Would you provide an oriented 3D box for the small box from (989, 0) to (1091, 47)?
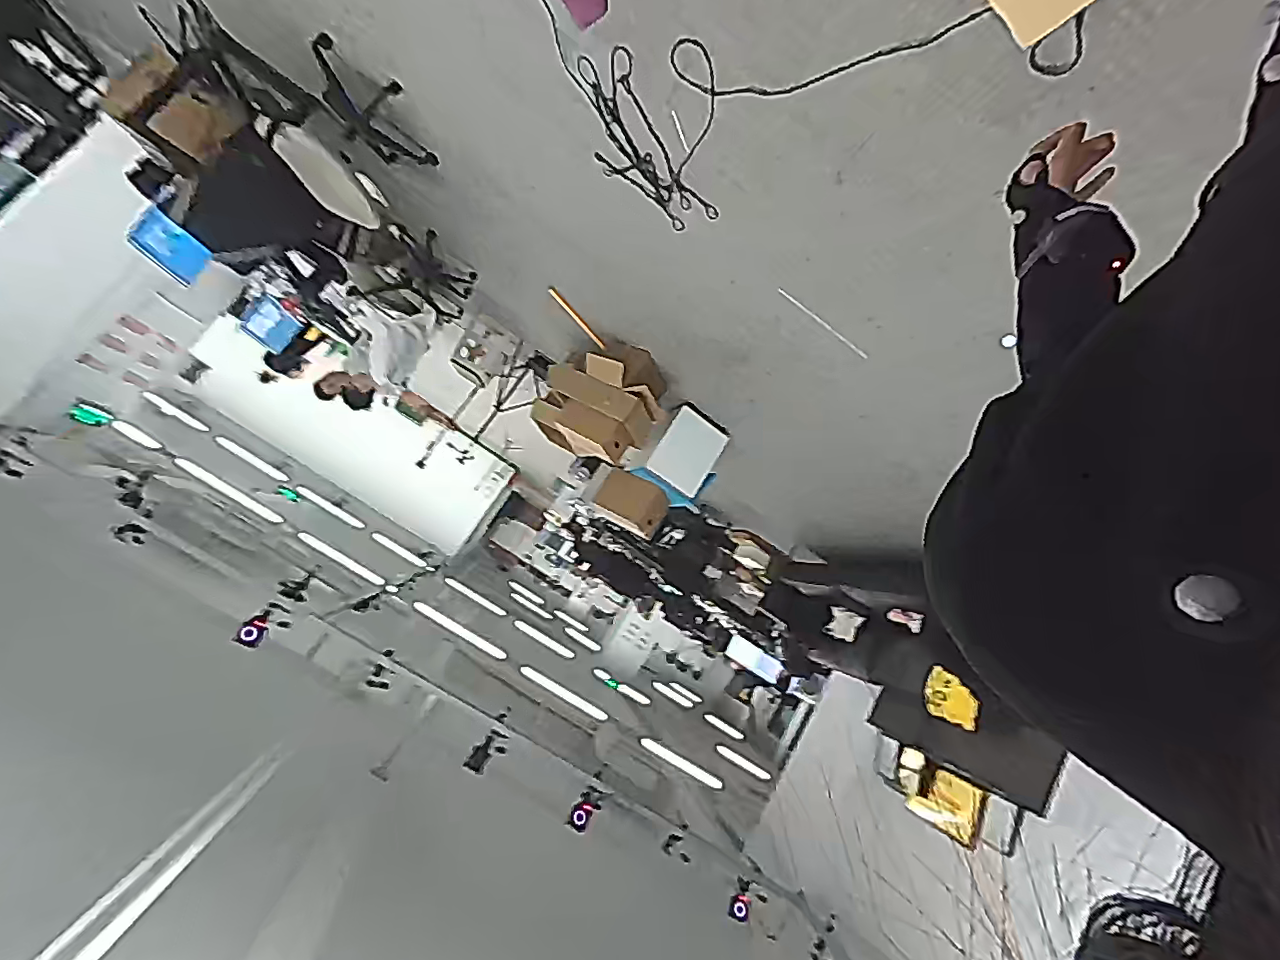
[{"bbox_3d":[0.538,-0.703,0.653,0.168,0.176,0.179,38,168,-17],"label":"small box"}]
